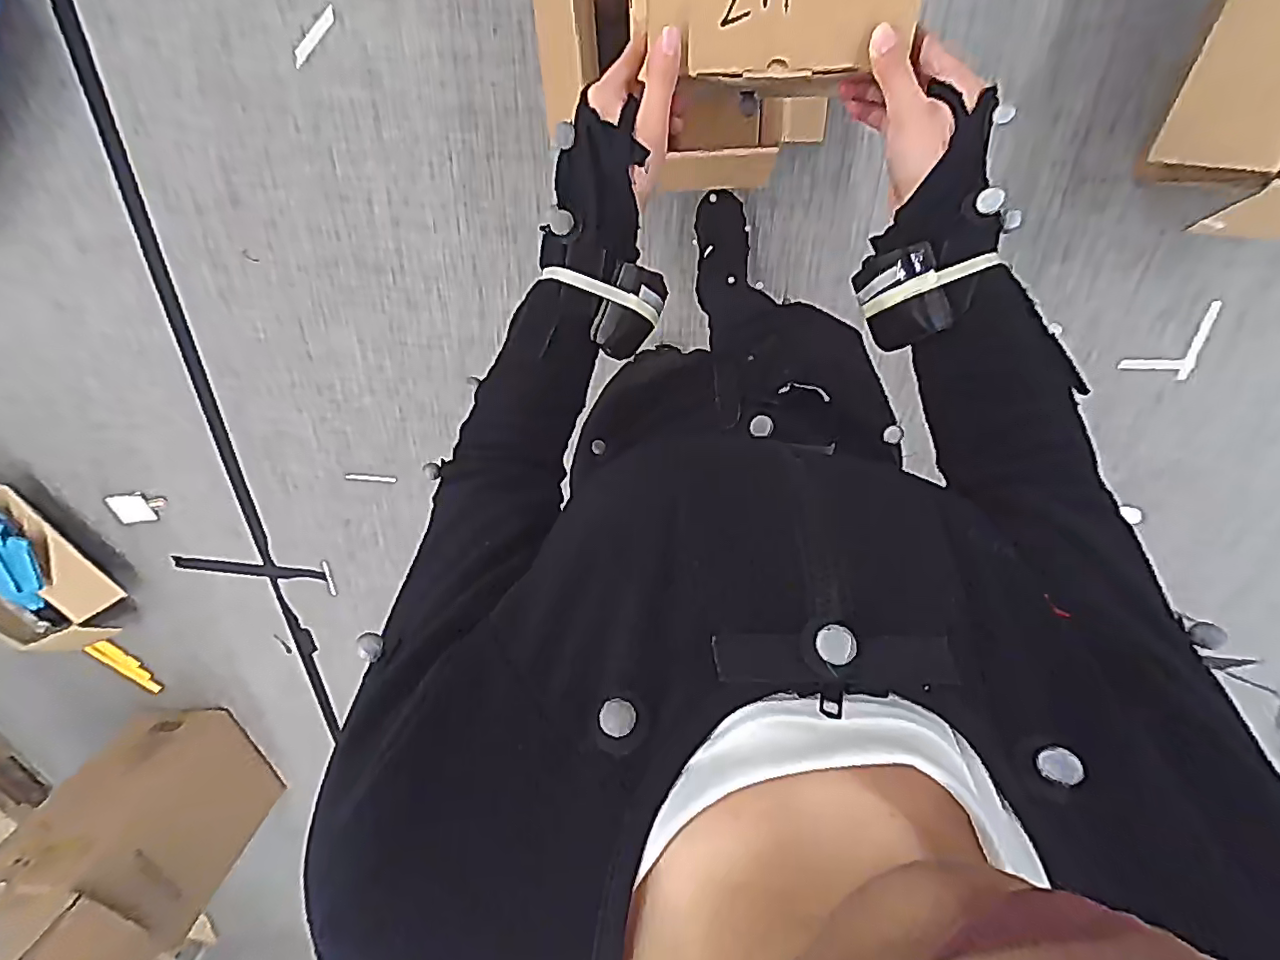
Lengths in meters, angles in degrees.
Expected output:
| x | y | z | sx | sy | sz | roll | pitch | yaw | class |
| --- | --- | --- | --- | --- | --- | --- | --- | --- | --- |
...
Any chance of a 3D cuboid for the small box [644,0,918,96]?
| x | y | z | sx | sy | sz | roll | pitch | yaw | class |
| --- | --- | --- | --- | --- | --- | --- | --- | --- | --- |
| 0.086 | -0.377 | 0.367 | 0.168 | 0.176 | 0.179 | 0 | 121 | 1 | small box |
